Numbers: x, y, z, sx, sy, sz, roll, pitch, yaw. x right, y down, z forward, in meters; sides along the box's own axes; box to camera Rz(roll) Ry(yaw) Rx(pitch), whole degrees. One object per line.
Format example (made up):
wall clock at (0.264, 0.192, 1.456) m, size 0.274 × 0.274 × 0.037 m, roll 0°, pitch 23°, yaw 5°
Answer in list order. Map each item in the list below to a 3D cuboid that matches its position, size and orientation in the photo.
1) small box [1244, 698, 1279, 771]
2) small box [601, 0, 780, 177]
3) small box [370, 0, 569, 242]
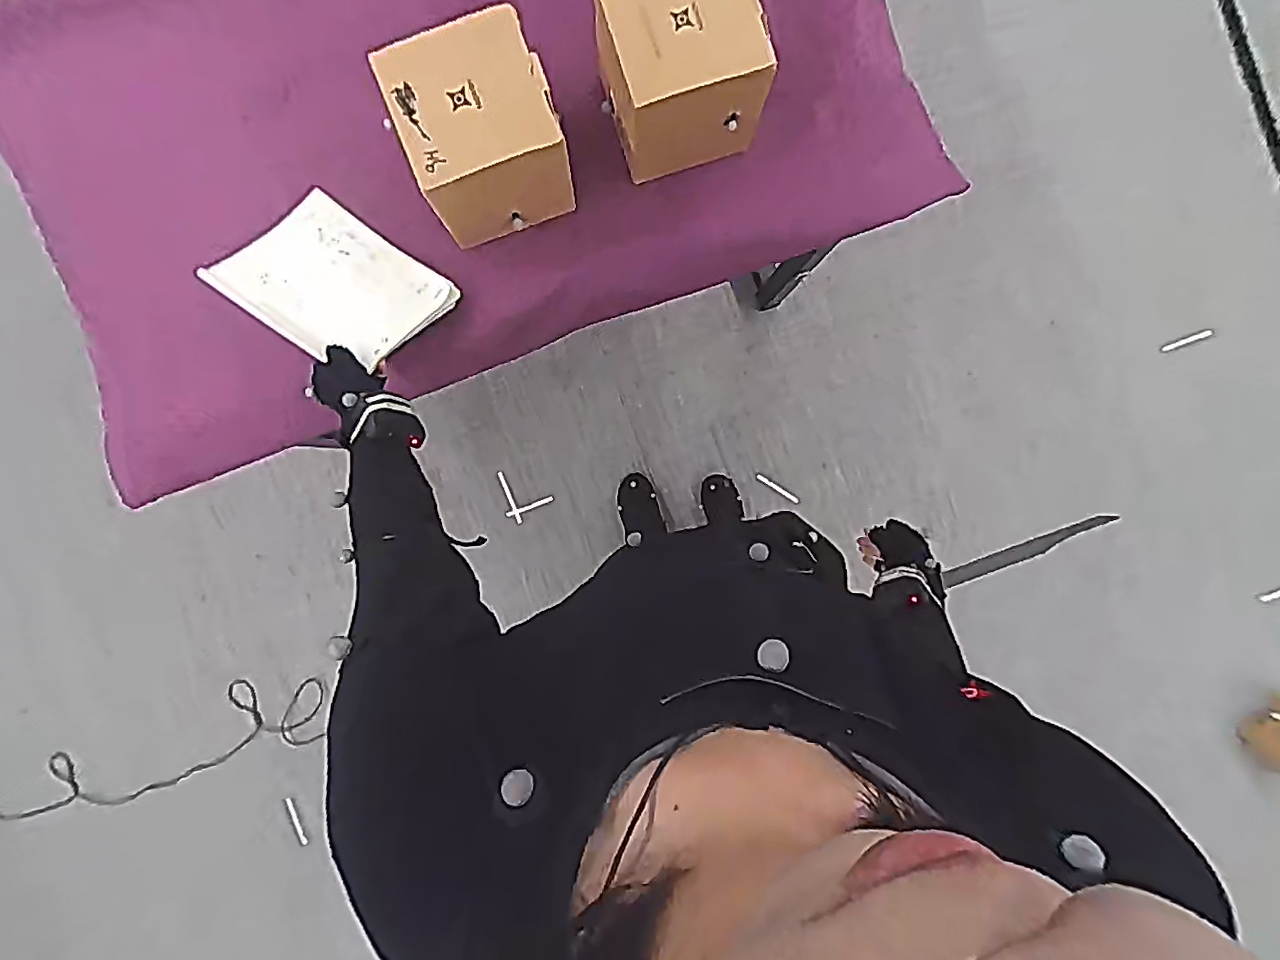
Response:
small box at (1.891, 0.751, 1.514) m, size 0.168 × 0.176 × 0.179 m, roll -43°, pitch 91°, yaw -1°
small box at (0.053, -0.529, 0.690) m, size 0.179 × 0.176 × 0.168 m, roll -18°, pitch 90°, yaw 0°
small box at (-0.195, -0.434, 0.682) m, size 0.179 × 0.176 × 0.168 m, roll -21°, pitch 91°, yaw -2°
